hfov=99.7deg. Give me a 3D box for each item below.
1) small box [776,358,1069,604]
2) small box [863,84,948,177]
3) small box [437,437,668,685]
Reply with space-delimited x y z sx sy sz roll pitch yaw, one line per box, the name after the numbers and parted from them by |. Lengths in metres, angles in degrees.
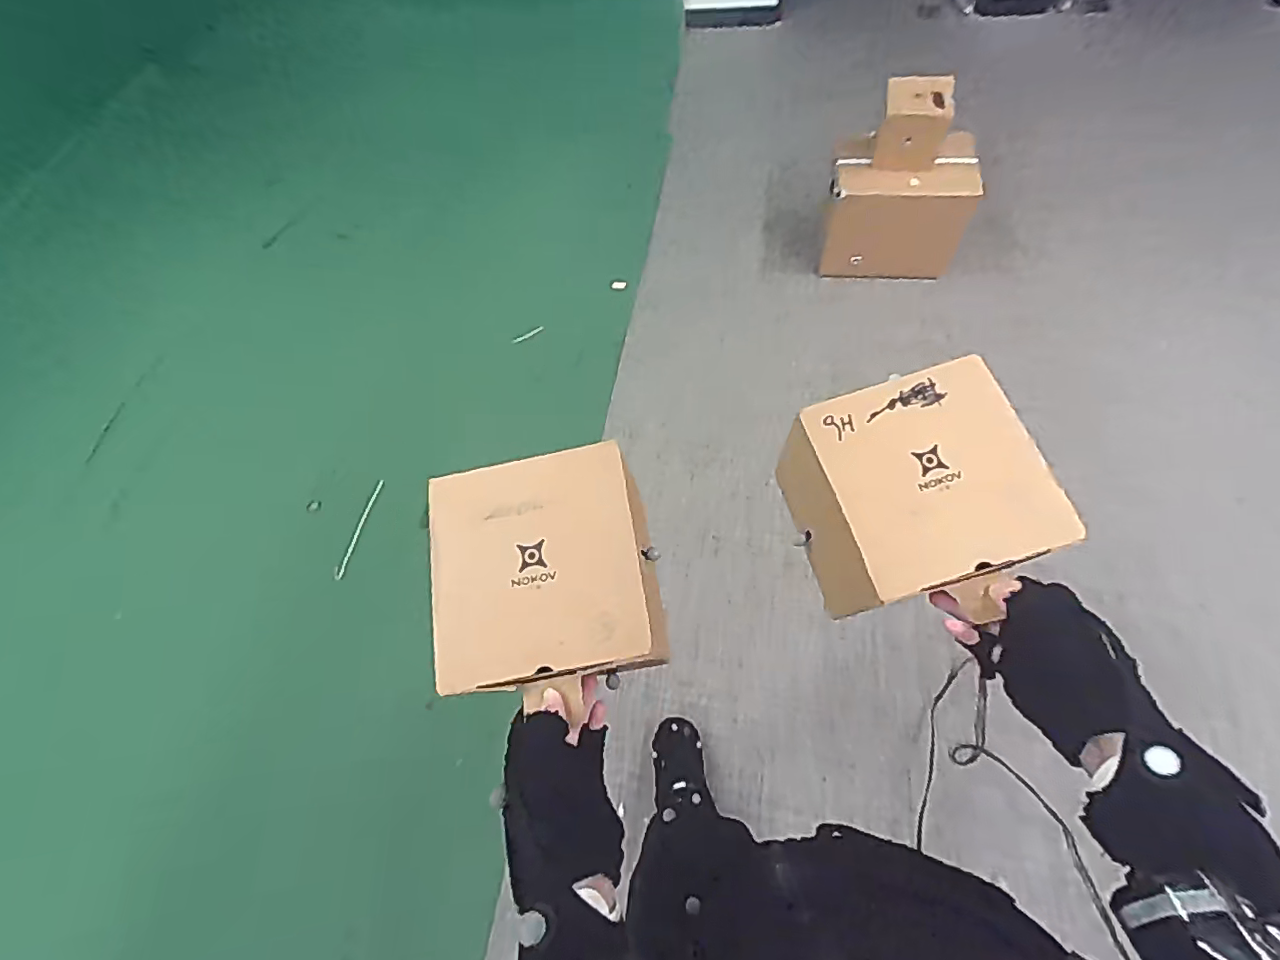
0.246 0.016 0.525 0.168 0.176 0.179 -16 71 0 | small box
0.782 -1.029 1.600 0.179 0.176 0.168 11 68 11 | small box
-0.071 0.085 0.504 0.168 0.176 0.179 -11 68 3 | small box
